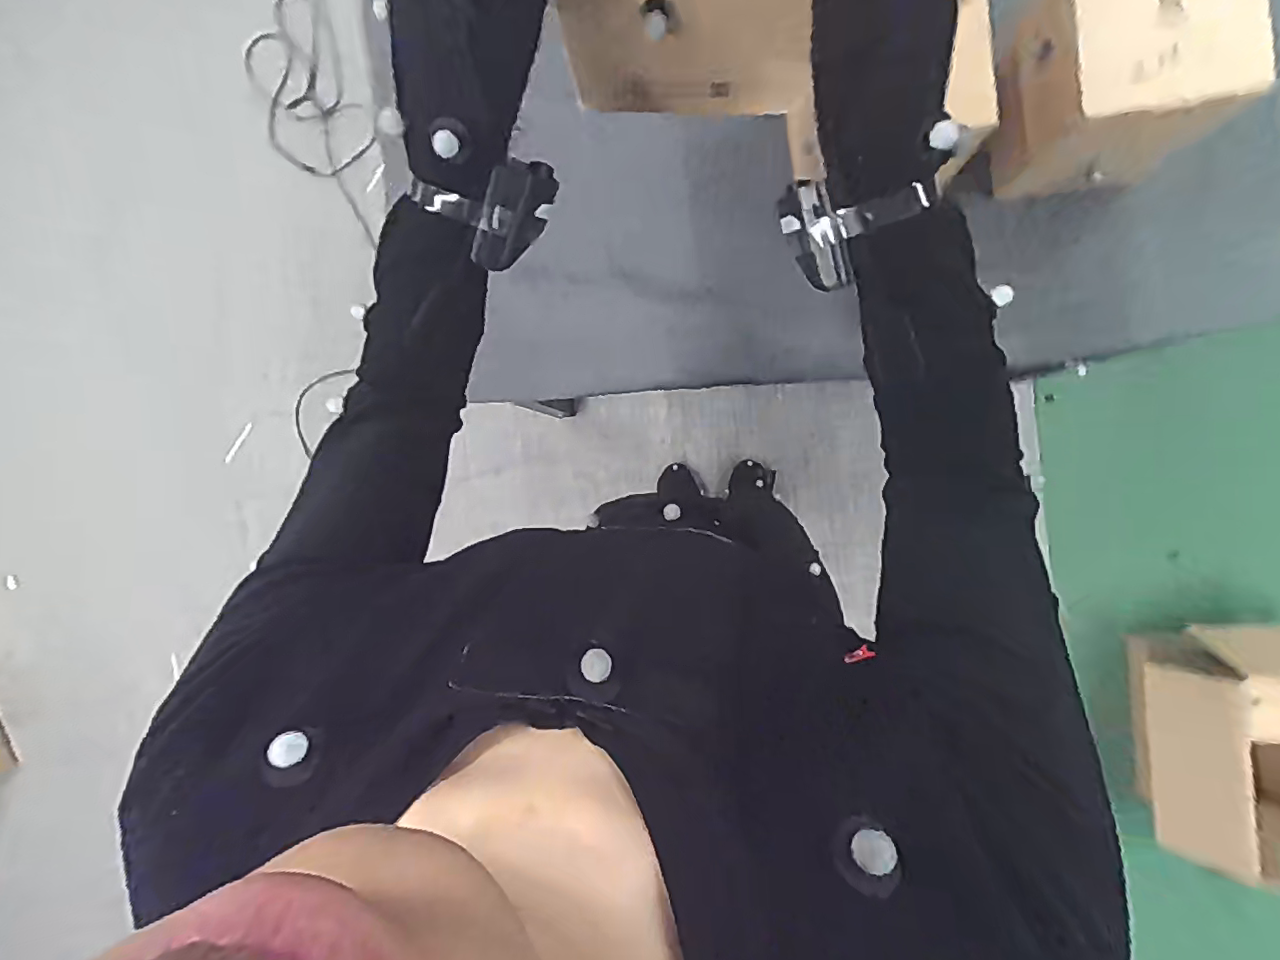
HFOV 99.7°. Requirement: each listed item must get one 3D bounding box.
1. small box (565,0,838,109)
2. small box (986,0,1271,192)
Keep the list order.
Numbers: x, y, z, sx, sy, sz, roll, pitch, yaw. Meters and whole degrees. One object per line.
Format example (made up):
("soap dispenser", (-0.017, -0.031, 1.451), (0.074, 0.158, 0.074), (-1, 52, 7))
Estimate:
("small box", (0.041, -0.360, 0.325), (0.168, 0.176, 0.179), (3, 90, 4))
("small box", (0.508, -0.453, 0.591), (0.168, 0.176, 0.179), (-6, 91, 8))
